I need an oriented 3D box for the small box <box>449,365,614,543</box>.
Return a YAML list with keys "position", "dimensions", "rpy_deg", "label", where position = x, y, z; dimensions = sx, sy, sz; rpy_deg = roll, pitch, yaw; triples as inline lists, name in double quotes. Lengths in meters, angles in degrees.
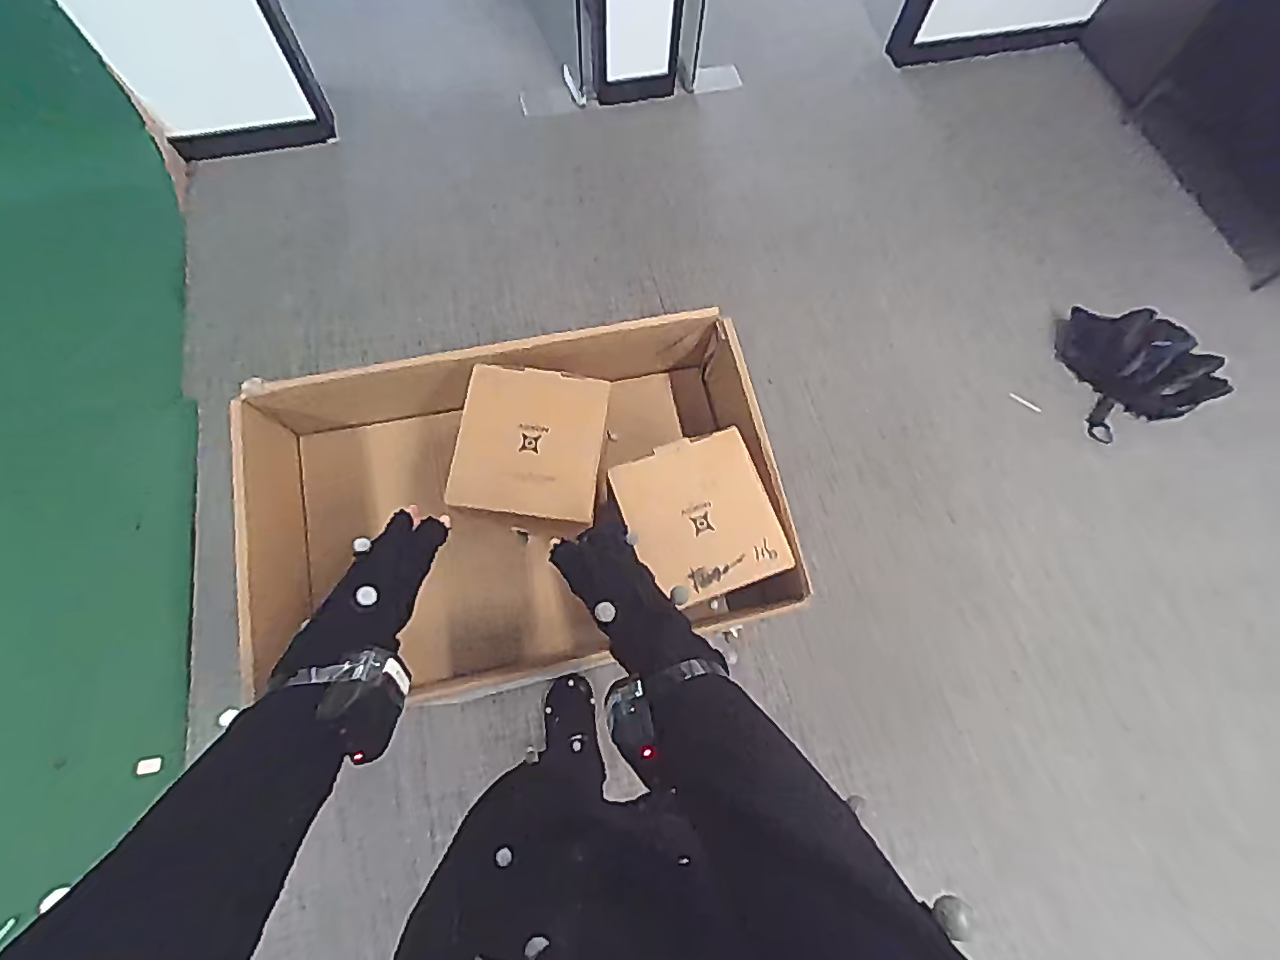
- position: [-0.127, -0.024, 0.701]
  dimensions: [0.168, 0.176, 0.179]
  rpy_deg: [7, 76, -1]
  label: "small box"
